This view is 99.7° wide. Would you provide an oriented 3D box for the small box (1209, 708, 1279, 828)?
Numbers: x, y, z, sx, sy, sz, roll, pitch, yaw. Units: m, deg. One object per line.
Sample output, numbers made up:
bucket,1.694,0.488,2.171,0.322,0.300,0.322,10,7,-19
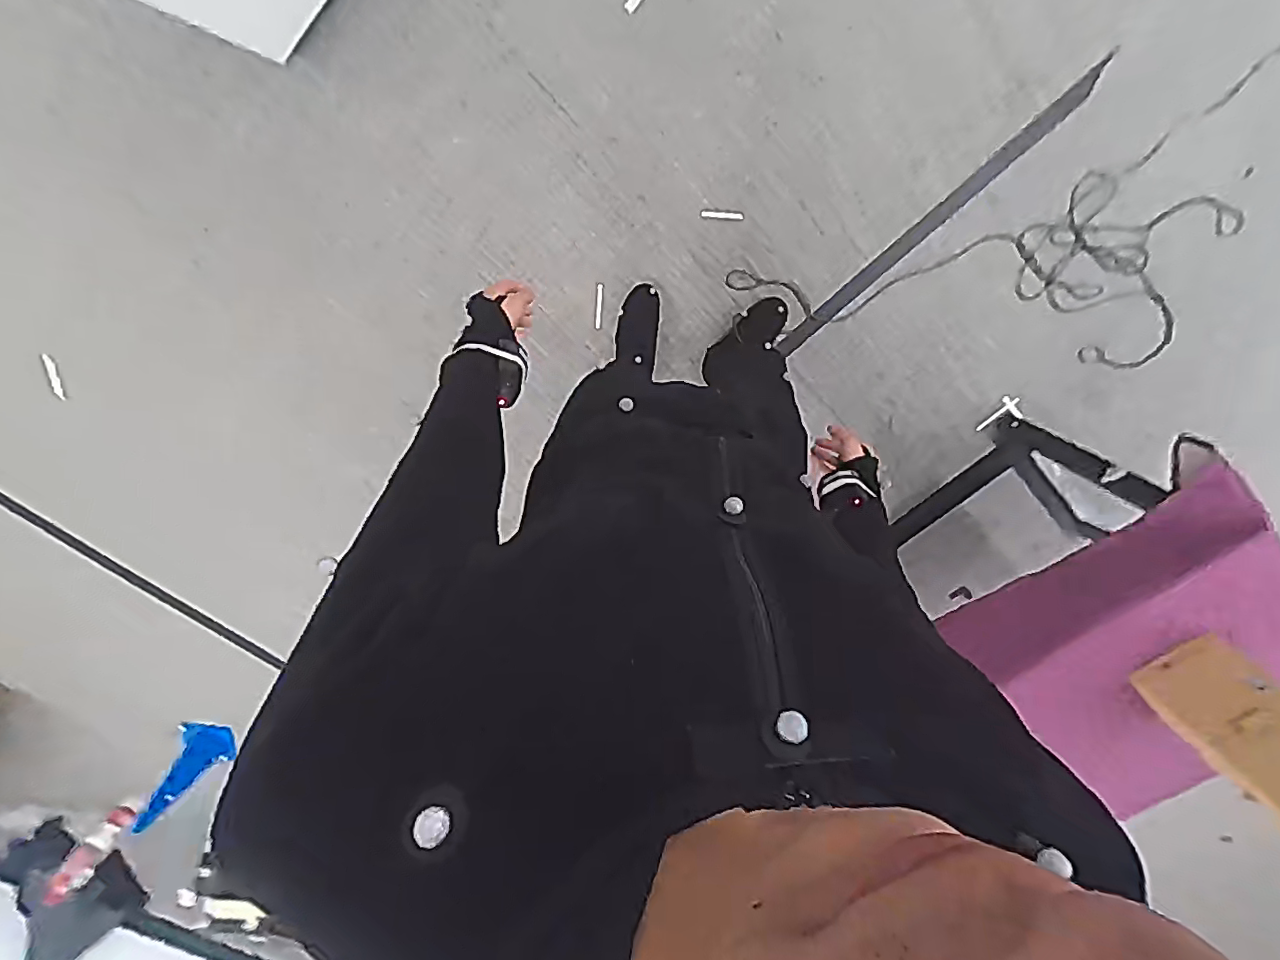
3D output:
small box,1.117,0.495,0.885,0.179,0.176,0.168,-39,109,16
